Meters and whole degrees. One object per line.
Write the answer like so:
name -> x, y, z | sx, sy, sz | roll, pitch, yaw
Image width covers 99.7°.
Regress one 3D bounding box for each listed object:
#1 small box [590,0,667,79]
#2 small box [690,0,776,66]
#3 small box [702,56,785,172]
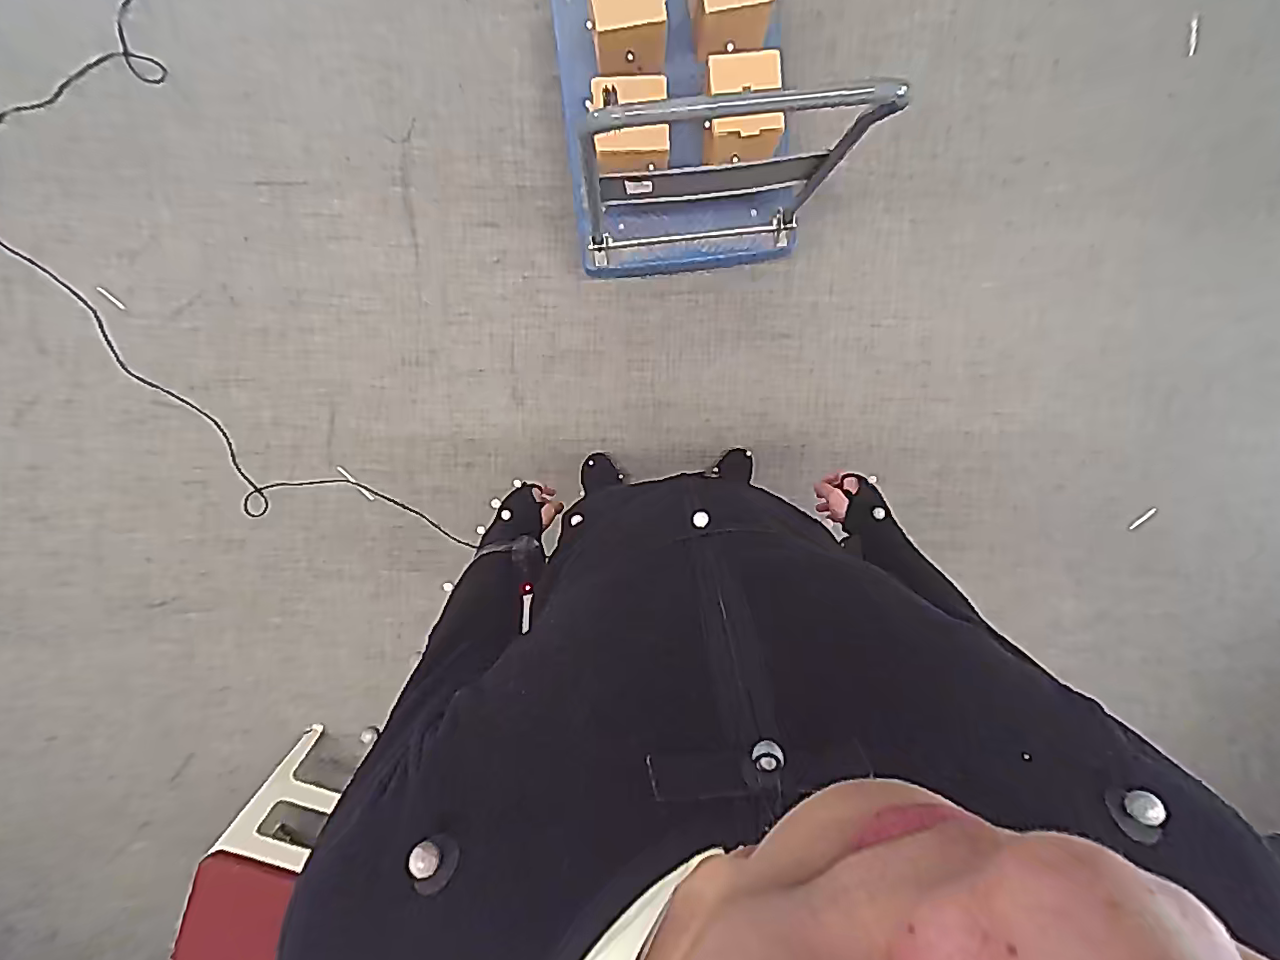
small box -> -0.029, -1.120, 1.319 | 0.168, 0.176, 0.179 | -10, 94, -1
small box -> 0.219, -1.166, 1.317 | 0.168, 0.176, 0.179 | -10, 95, 1
small box -> 0.250, -0.897, 1.337 | 0.168, 0.176, 0.179 | -6, 94, 0
